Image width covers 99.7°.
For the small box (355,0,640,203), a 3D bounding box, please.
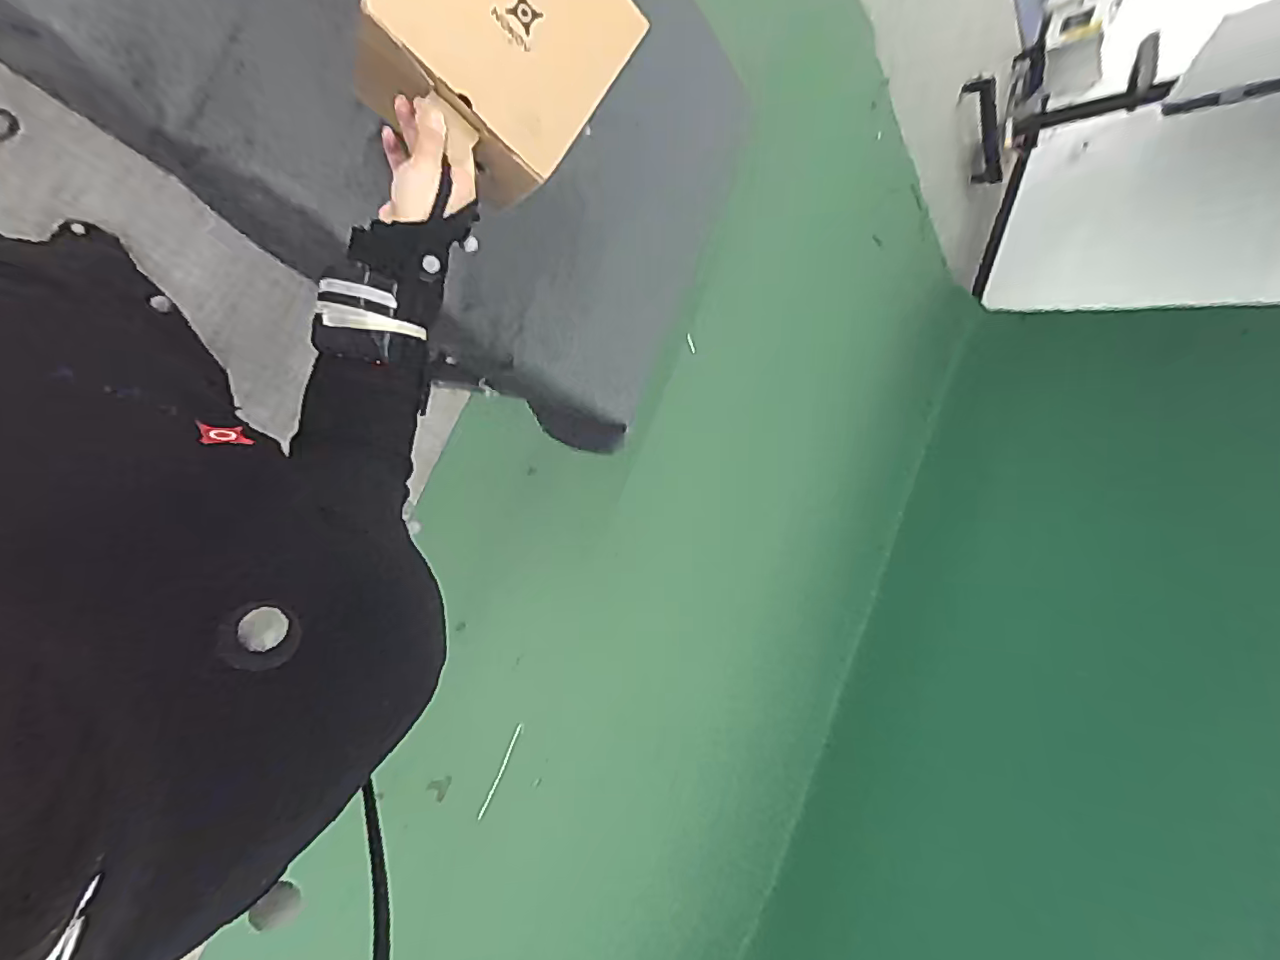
[{"bbox_3d":[-0.138,-0.390,0.496,0.168,0.176,0.179,34,85,-34],"label":"small box"}]
